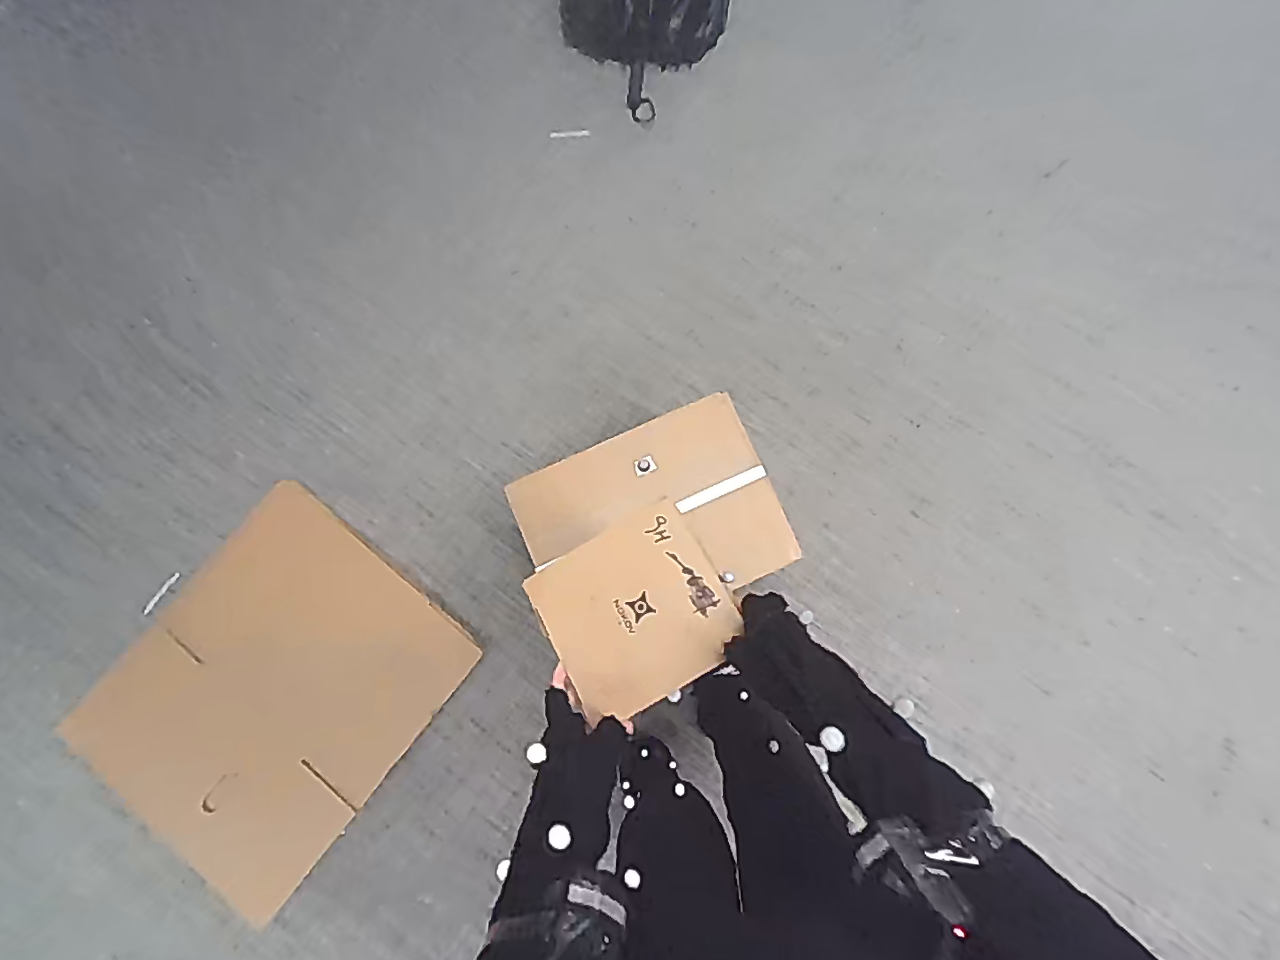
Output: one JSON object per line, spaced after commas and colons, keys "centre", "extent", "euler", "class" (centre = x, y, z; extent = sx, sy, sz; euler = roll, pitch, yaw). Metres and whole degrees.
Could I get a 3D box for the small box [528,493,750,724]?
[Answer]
{"centre": [0.011, 0.145, 0.610], "extent": [0.179, 0.176, 0.168], "euler": [-35, 70, 1], "class": "small box"}
